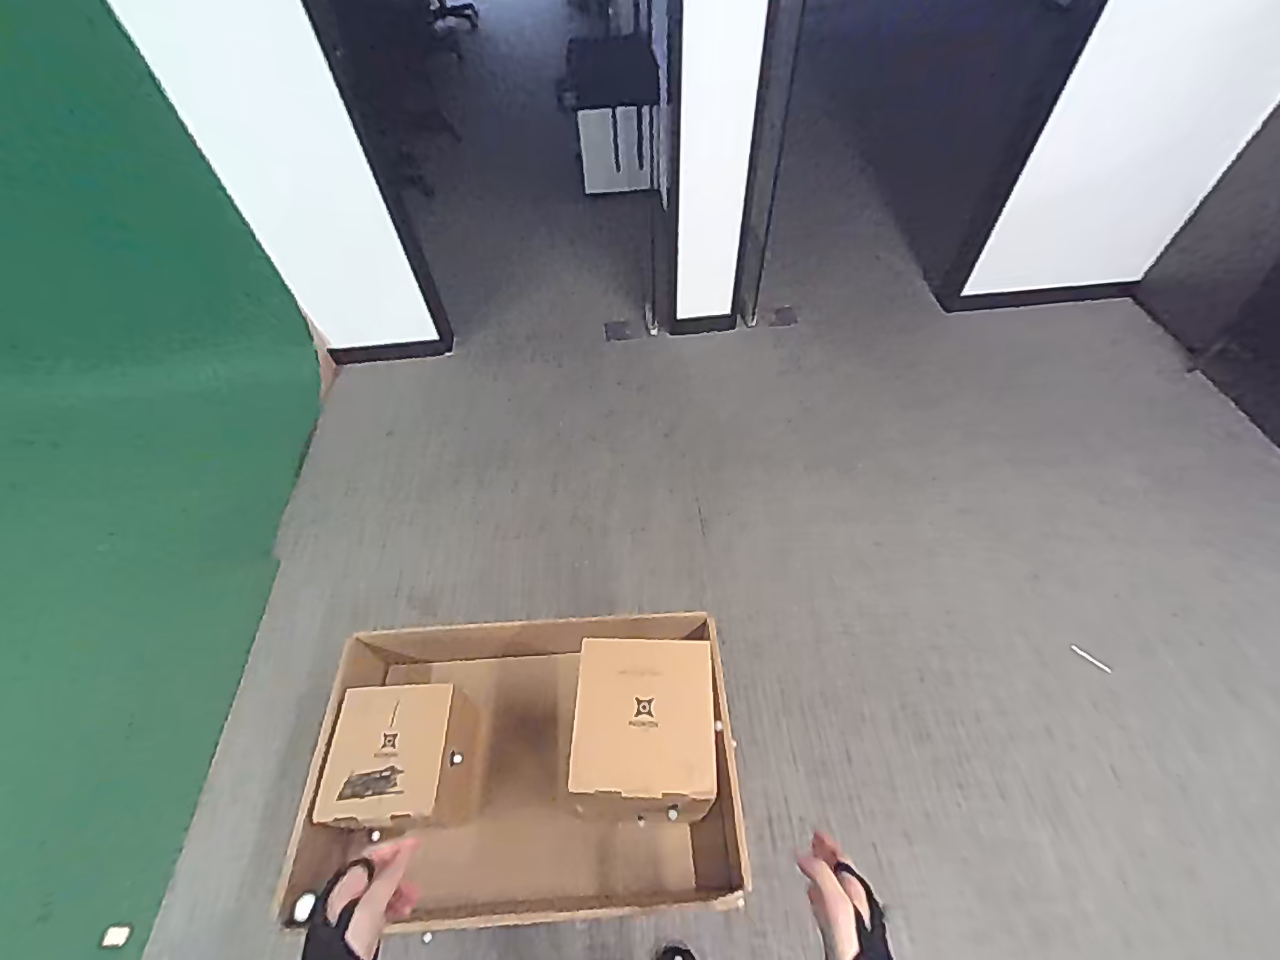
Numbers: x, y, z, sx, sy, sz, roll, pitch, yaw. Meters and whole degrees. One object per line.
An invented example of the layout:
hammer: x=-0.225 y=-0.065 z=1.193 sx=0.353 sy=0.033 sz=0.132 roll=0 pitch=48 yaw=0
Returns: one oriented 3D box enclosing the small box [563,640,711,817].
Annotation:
small box: x=0.004 y=0.325 z=0.699 sx=0.168 sy=0.176 sz=0.179 roll=2 pitch=52 yaw=3
